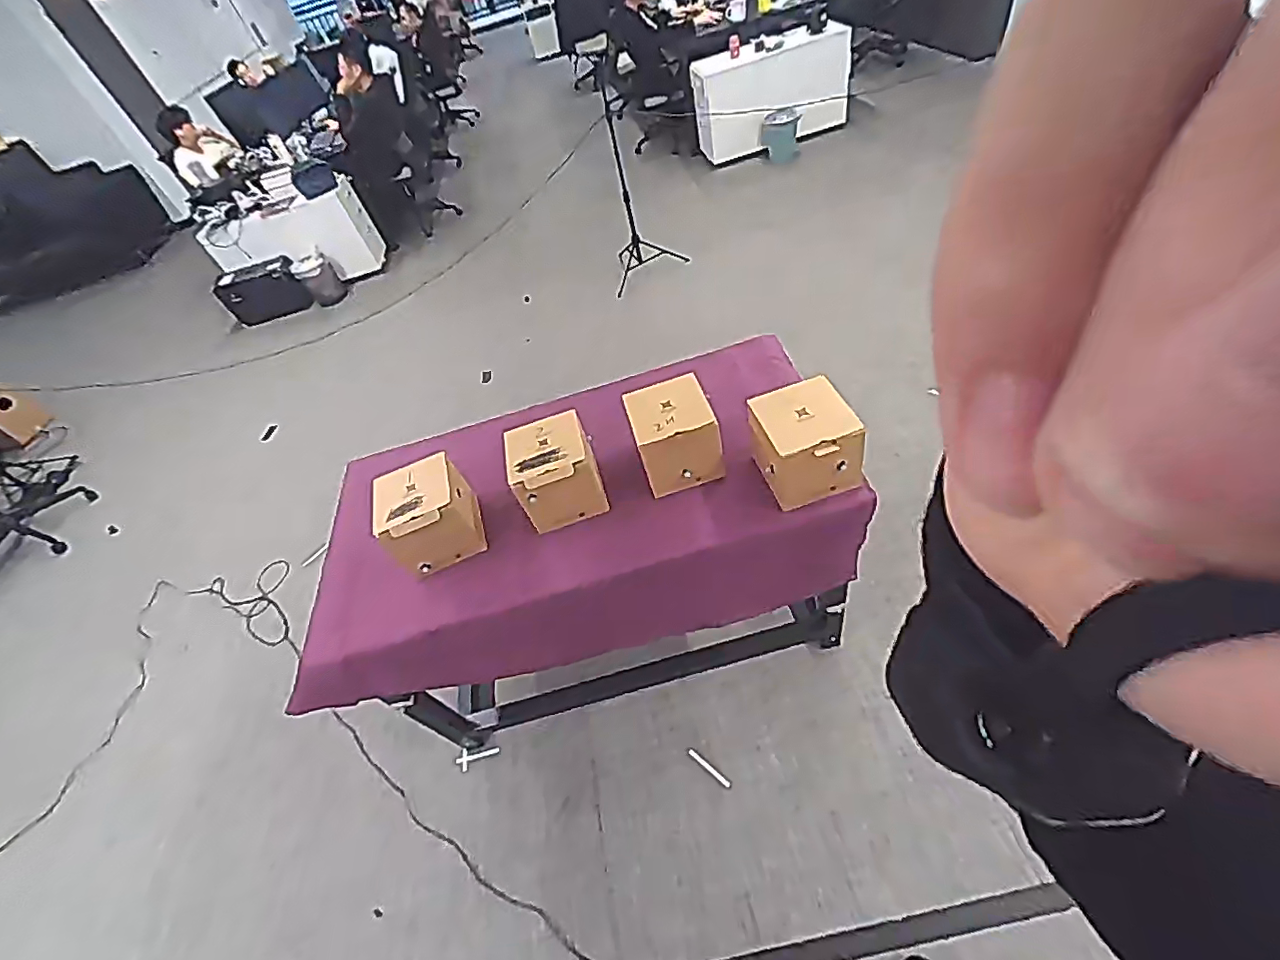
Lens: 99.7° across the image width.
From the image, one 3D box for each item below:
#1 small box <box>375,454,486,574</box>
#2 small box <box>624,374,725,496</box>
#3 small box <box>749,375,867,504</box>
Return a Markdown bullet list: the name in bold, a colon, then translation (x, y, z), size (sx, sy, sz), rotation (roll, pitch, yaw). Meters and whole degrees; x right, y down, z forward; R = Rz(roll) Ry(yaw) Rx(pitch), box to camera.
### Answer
- **small box**: translation (-0.453, 0.082, 1.179), size (0.168, 0.176, 0.179), rotation (-24, 47, -5)
- **small box**: translation (0.076, -0.095, 1.173), size (0.168, 0.176, 0.179), rotation (-18, 48, 1)
- **small box**: translation (0.330, -0.072, 1.077), size (0.168, 0.176, 0.179), rotation (-19, 47, 0)
